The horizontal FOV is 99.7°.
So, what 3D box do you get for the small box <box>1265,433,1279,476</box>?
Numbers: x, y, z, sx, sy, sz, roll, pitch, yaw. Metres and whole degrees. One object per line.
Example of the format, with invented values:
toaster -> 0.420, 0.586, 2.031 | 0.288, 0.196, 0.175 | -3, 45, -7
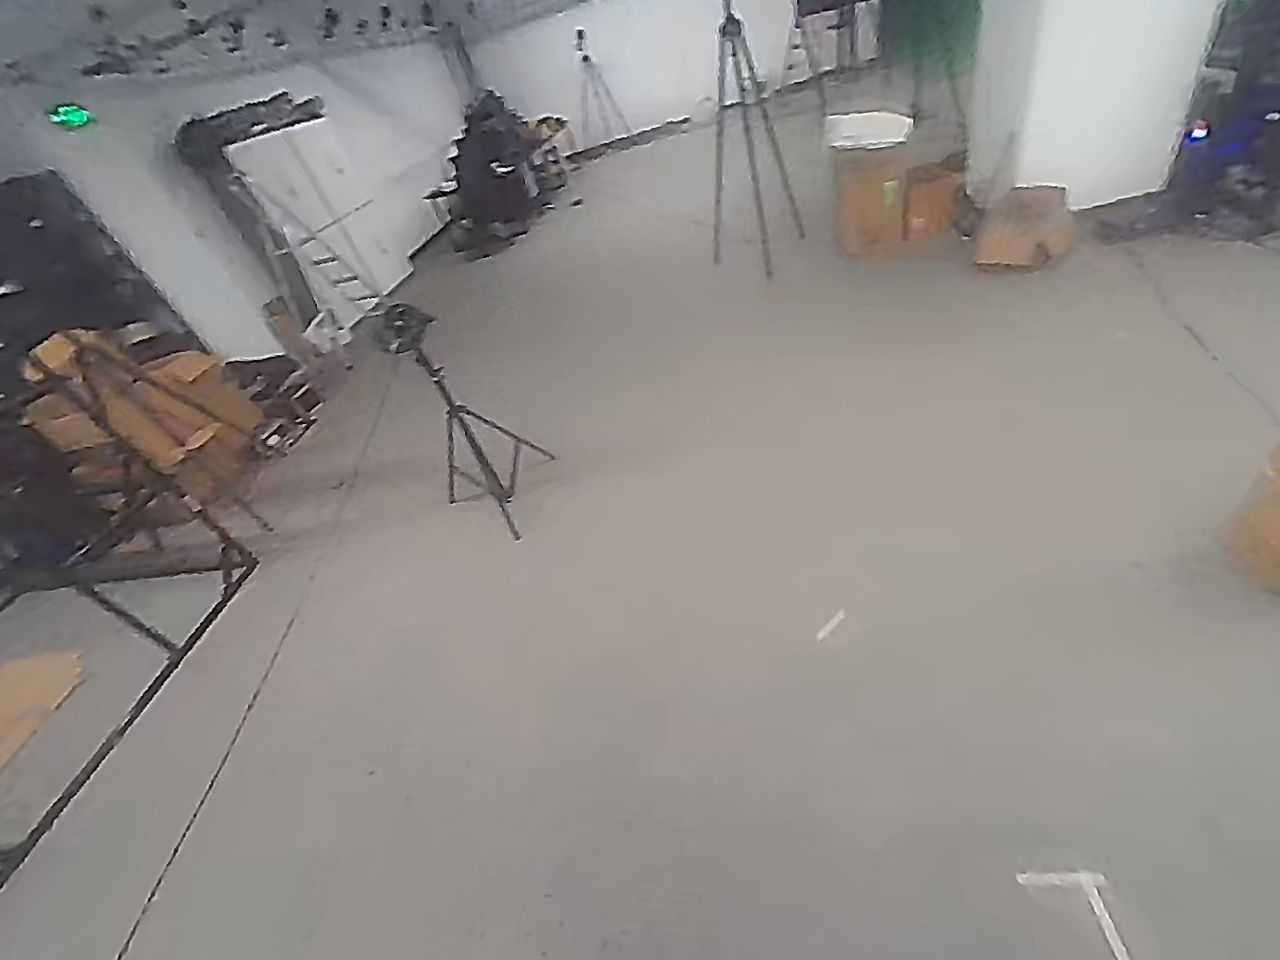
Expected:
small box -> 1.706, -0.064, 1.318 | 0.168, 0.176, 0.179 | -2, 41, 23
